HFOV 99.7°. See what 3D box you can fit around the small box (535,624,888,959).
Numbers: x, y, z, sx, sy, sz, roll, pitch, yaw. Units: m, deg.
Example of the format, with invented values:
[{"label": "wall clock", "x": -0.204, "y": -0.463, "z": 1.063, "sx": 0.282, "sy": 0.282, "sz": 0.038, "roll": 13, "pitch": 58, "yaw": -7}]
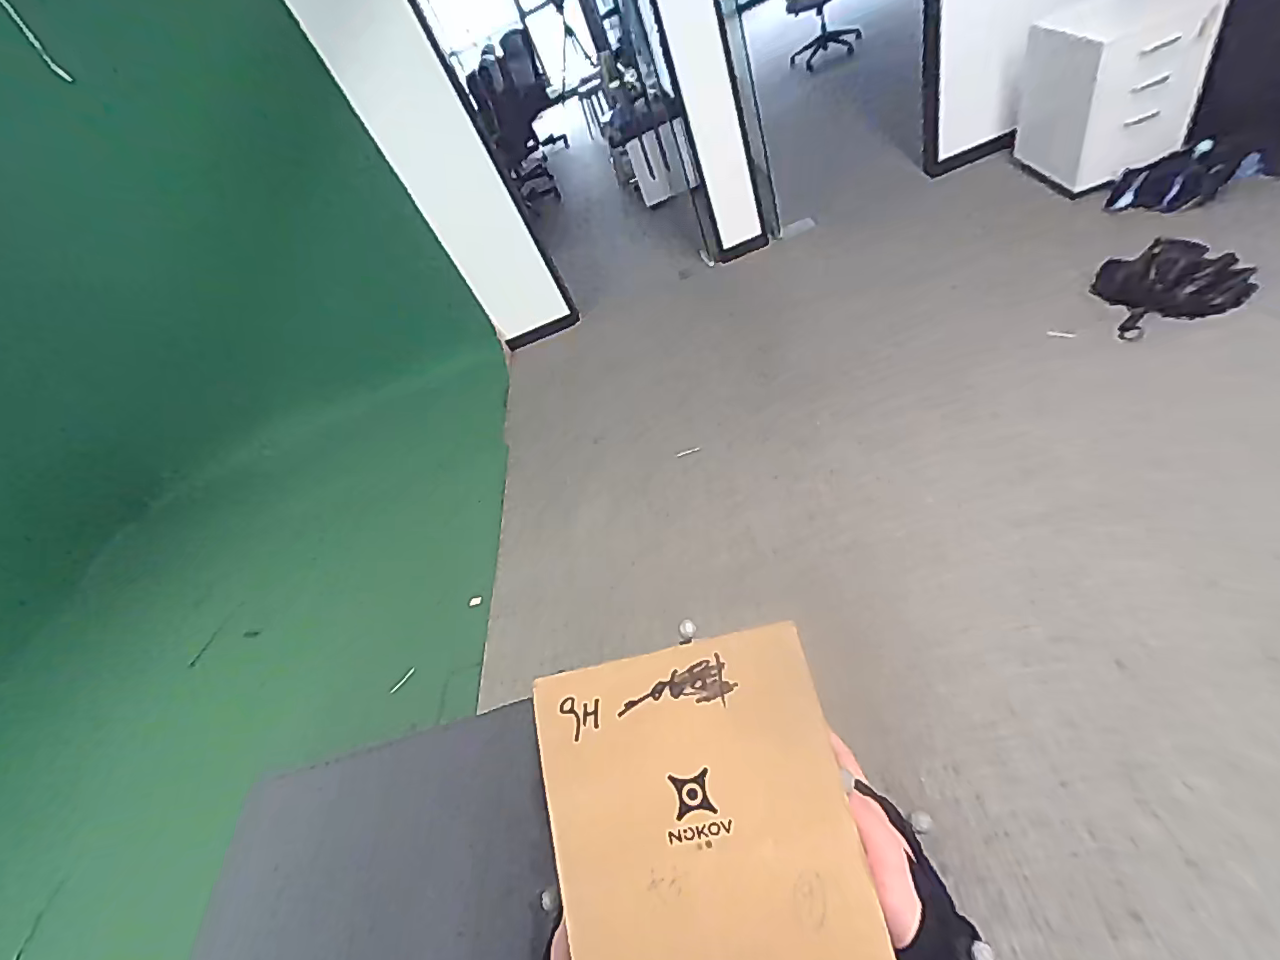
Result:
[{"label": "small box", "x": 0.044, "y": 0.204, "z": 0.377, "sx": 0.168, "sy": 0.176, "sz": 0.179, "roll": -14, "pitch": 74, "yaw": 5}]
